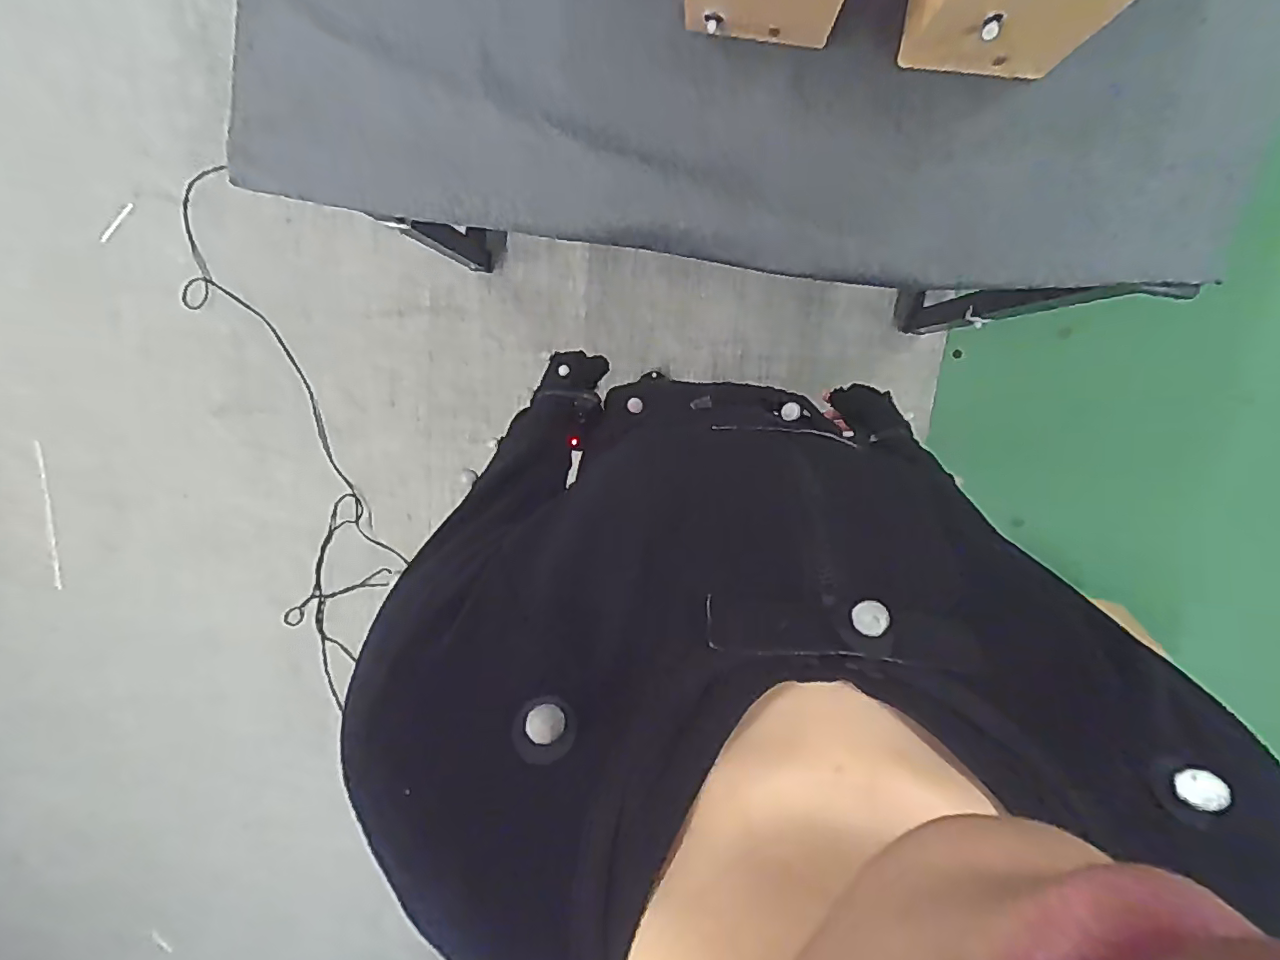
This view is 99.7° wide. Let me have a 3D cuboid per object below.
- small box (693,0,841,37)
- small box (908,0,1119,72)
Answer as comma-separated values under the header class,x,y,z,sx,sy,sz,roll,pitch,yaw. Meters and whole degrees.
class,x,y,z,sx,sy,sz,roll,pitch,yaw
small box,0.143,-0.587,0.534,0.168,0.176,0.179,10,101,3
small box,0.385,-0.539,0.525,0.168,0.176,0.179,7,101,3
